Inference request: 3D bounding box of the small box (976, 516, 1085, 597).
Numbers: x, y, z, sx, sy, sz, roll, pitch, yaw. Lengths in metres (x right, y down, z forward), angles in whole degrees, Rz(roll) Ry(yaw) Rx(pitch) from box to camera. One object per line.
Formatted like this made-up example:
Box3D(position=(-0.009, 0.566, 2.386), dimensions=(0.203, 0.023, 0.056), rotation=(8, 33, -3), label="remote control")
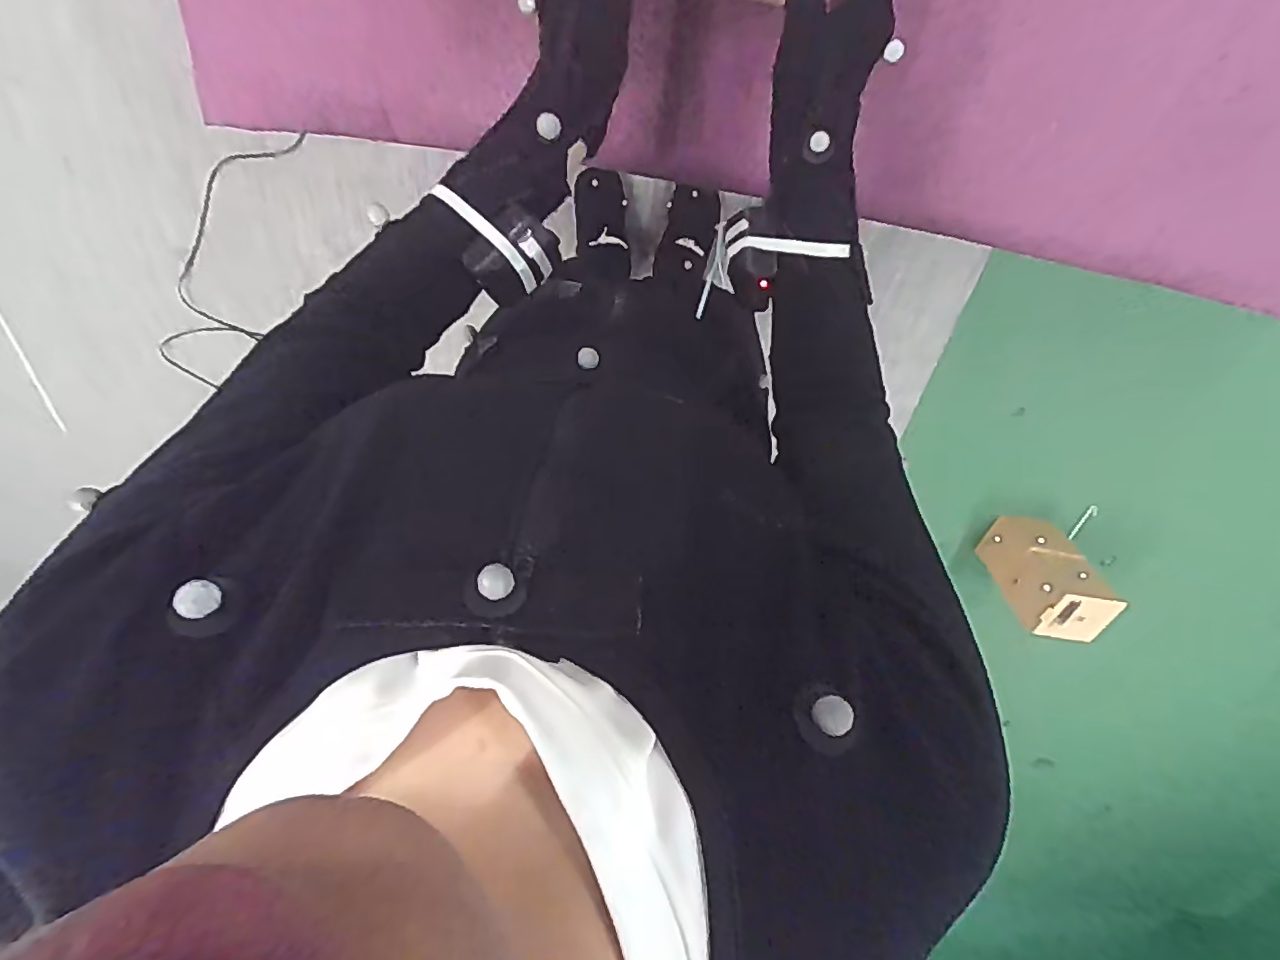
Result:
Box3D(position=(1.186, 0.232, 1.658), dimensions=(0.179, 0.176, 0.168), rotation=(11, 125, -3), label="small box")
